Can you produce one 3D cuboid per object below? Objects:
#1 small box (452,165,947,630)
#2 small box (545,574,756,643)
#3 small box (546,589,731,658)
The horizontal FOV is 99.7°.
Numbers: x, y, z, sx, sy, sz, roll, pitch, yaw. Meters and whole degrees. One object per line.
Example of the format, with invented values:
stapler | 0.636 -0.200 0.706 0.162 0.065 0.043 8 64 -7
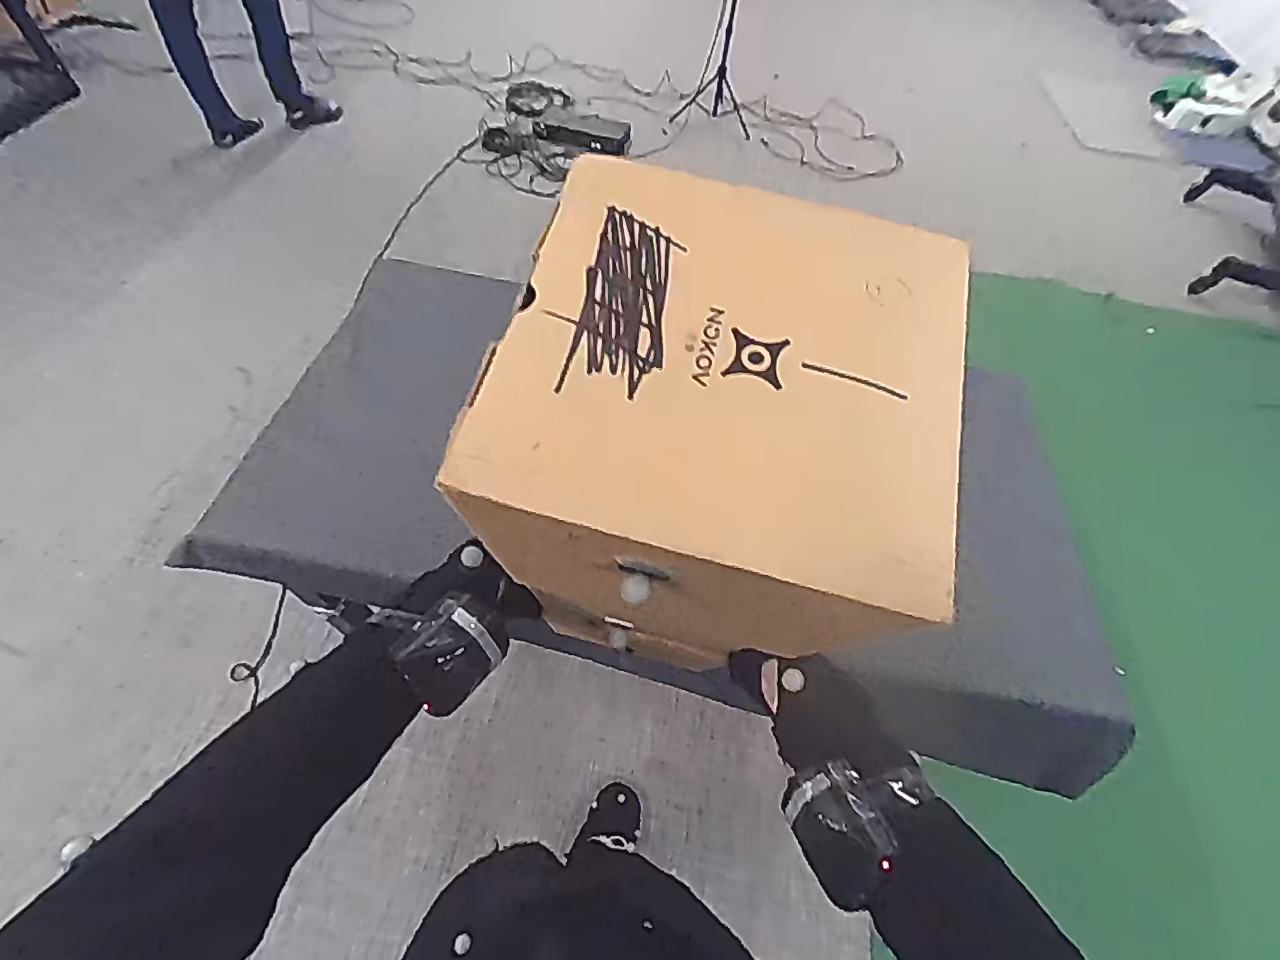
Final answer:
small box | 0.031 -0.024 0.292 0.179 0.176 0.168 15 69 2
small box | 0.018 0.024 0.449 0.168 0.176 0.179 14 69 2
small box | 0.010 0.094 0.597 0.179 0.176 0.168 15 68 1
